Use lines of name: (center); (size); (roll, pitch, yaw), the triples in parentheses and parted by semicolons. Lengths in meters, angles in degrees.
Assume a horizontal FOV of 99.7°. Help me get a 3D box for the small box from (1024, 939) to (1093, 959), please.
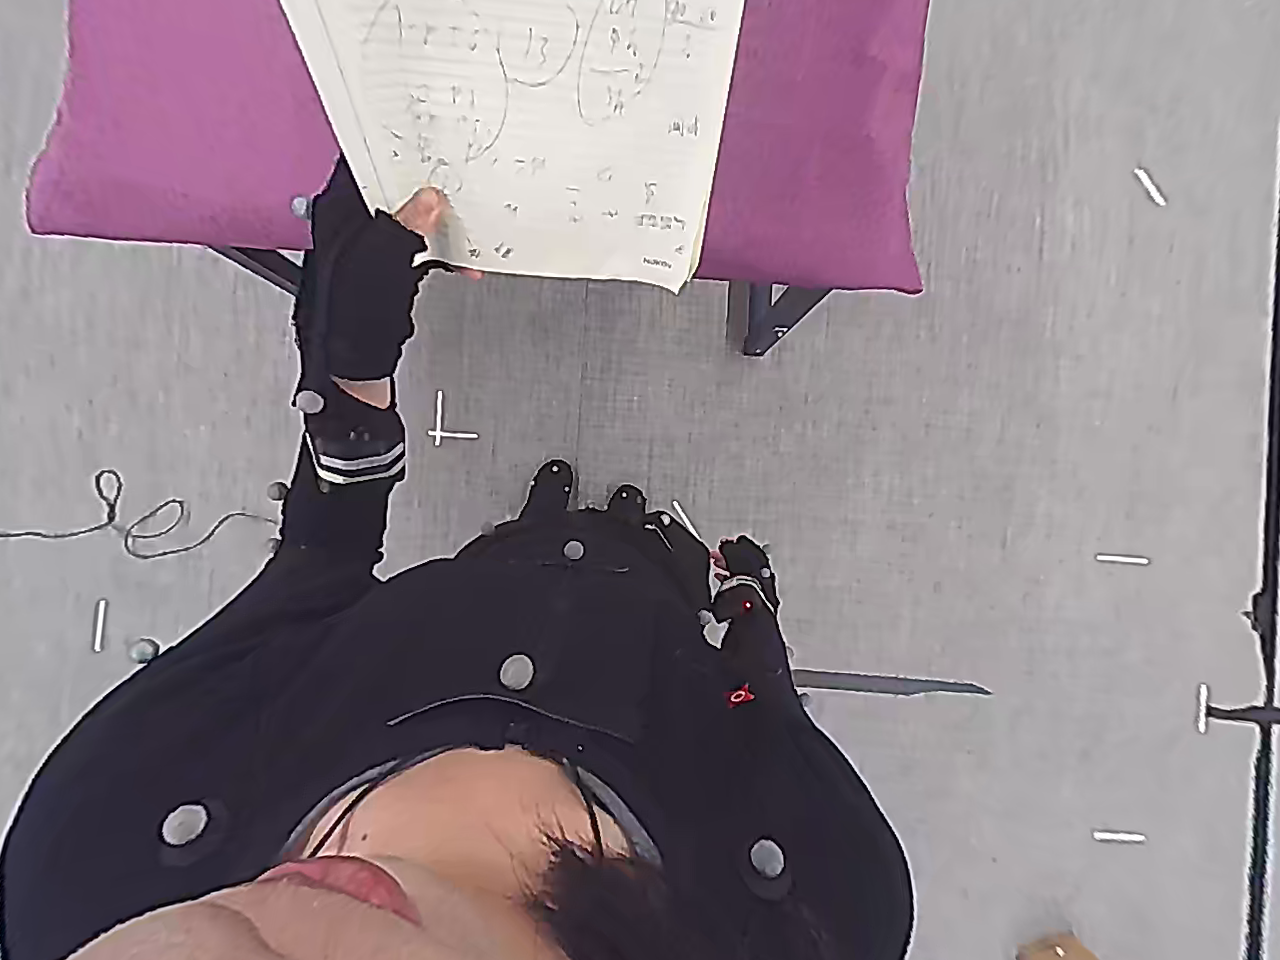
small box: (1.190, 1.409, 1.456); (0.168, 0.176, 0.179); (-18, 89, -2)

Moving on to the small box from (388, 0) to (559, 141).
small box: (-0.203, -0.577, 0.706); (0.179, 0.176, 0.168); (4, 89, -2)
